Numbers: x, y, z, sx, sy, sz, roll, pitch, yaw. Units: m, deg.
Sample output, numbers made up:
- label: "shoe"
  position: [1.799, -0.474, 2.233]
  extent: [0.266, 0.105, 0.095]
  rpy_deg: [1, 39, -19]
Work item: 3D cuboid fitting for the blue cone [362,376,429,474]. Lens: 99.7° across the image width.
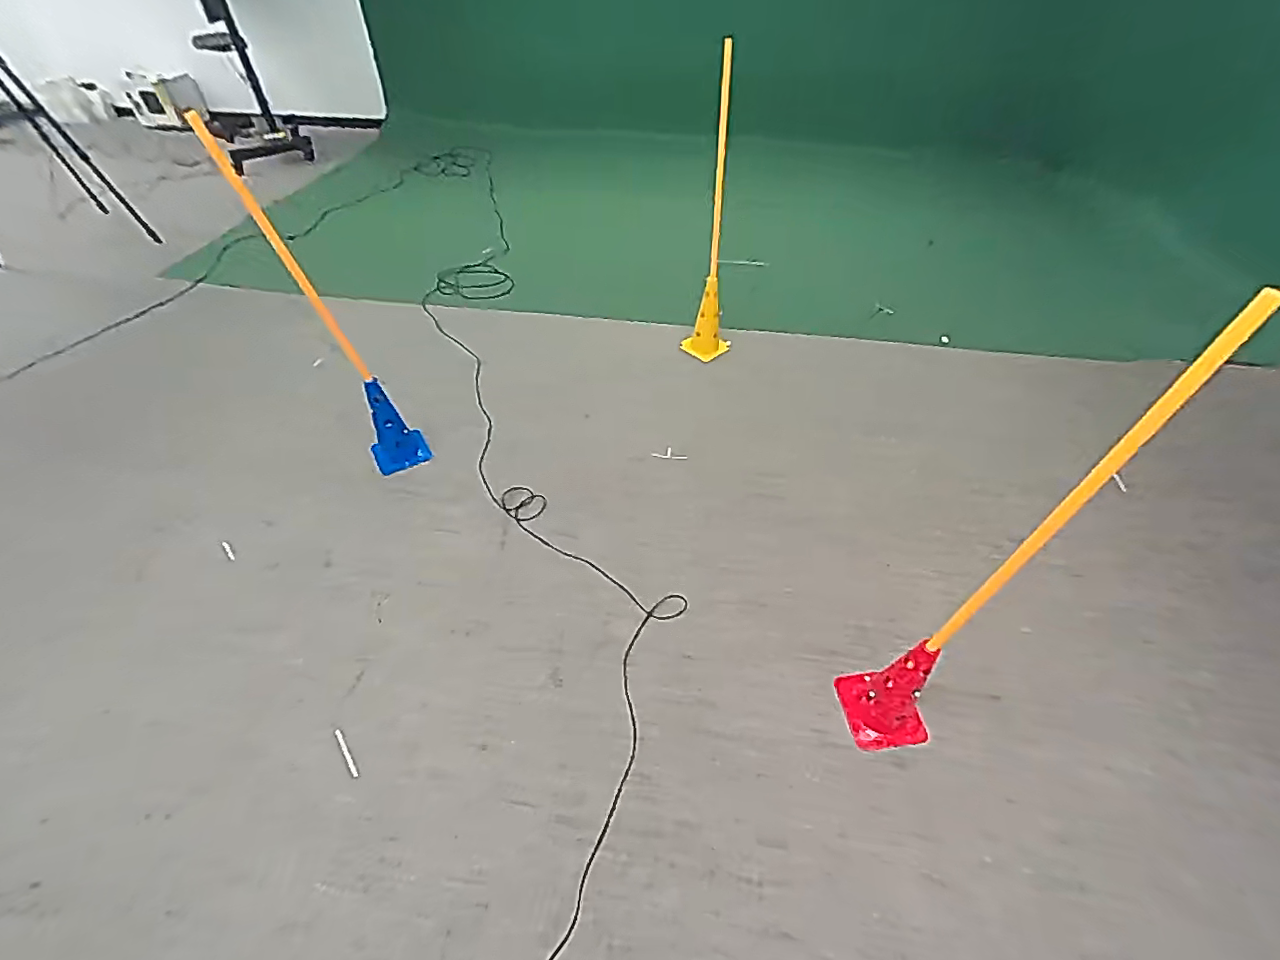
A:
- label: "blue cone"
  position: [-0.941, -0.218, 2.004]
  extent: [0.193, 0.380, 0.192]
  rpy_deg: [-26, 53, -22]
